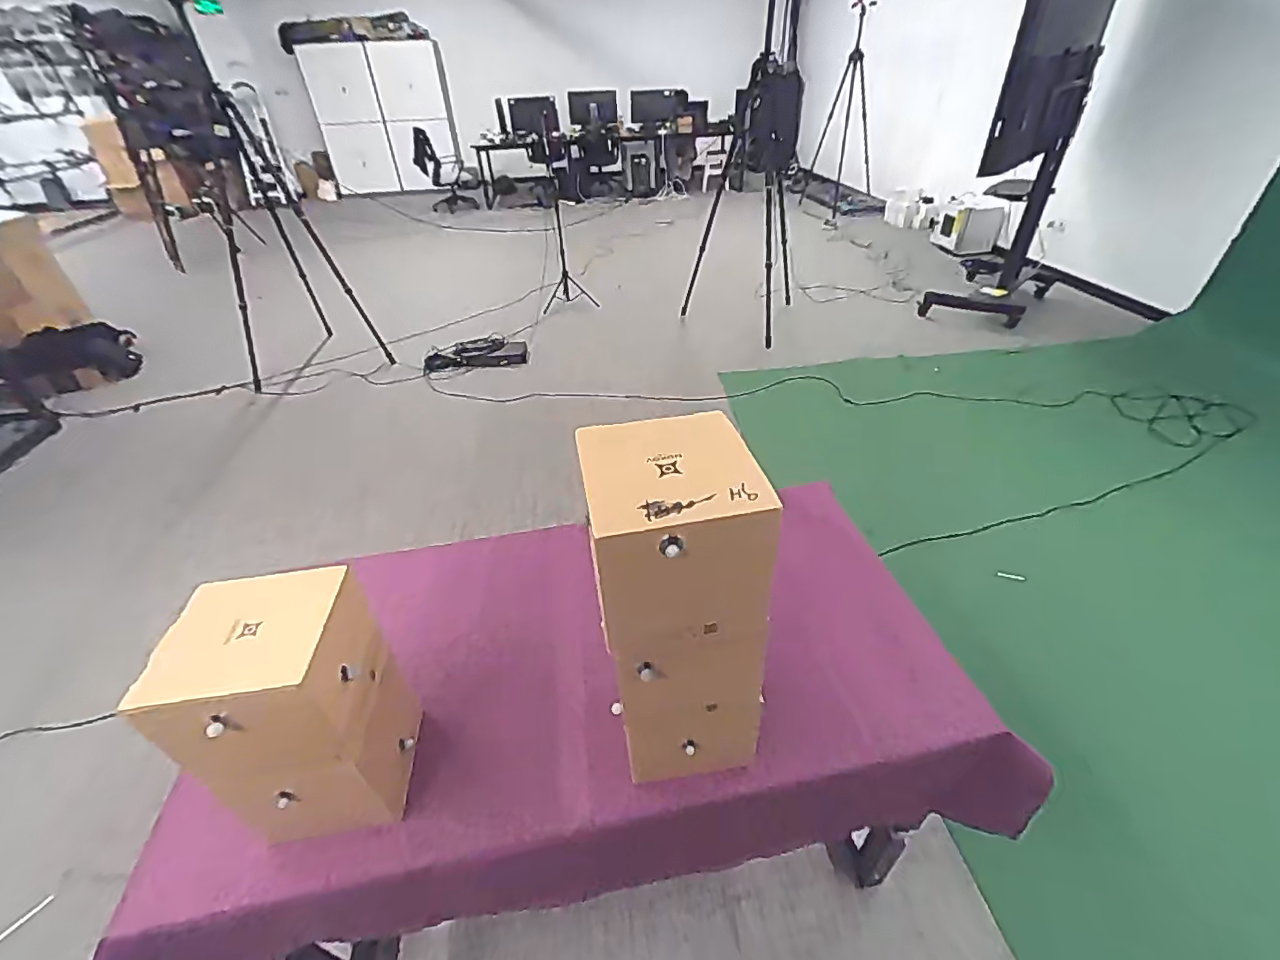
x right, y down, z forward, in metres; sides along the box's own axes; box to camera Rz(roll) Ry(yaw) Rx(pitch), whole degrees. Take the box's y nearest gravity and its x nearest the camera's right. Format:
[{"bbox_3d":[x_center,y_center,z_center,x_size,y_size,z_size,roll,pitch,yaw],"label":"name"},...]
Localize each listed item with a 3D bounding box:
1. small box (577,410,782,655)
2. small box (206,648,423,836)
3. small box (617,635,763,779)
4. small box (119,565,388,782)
[{"bbox_3d":[0.031,0.049,0.562,0.168,0.176,0.179,-9,37,-6],"label":"small box"},{"bbox_3d":[-0.420,0.356,0.736,0.179,0.176,0.168,-6,38,-5],"label":"small box"},{"bbox_3d":[0.061,0.299,0.775,0.179,0.176,0.168,-8,38,-4],"label":"small box"},{"bbox_3d":[-0.423,0.226,0.636,0.179,0.176,0.168,-8,38,-4],"label":"small box"}]
